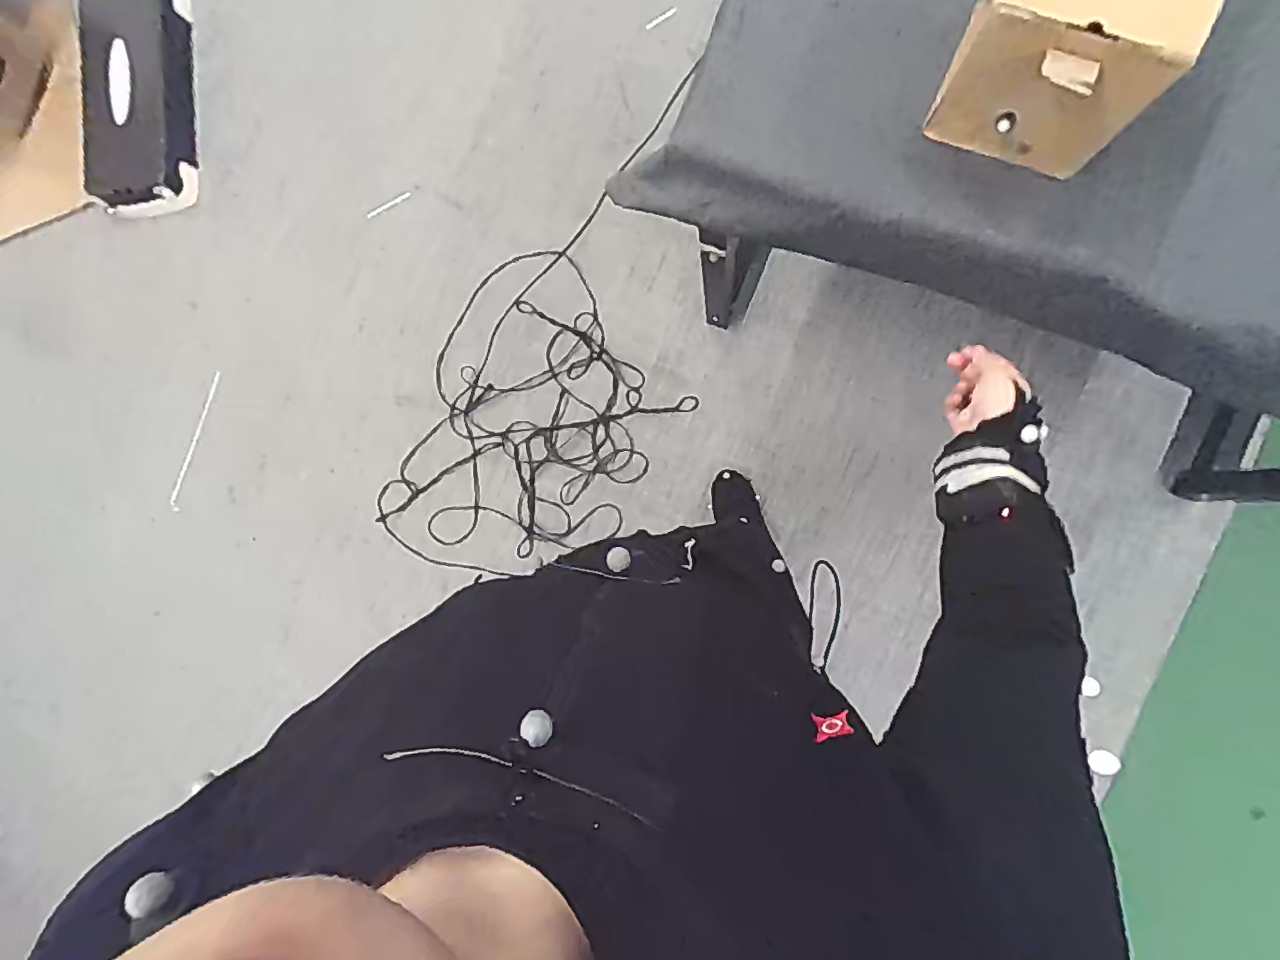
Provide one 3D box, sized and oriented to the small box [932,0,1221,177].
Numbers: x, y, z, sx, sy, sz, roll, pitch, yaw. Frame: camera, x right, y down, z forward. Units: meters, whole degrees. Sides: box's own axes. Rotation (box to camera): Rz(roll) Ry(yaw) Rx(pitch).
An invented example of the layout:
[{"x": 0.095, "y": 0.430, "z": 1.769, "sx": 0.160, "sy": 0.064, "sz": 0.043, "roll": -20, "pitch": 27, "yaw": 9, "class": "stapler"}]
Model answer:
[{"x": 0.425, "y": -0.449, "z": 0.535, "sx": 0.168, "sy": 0.176, "sz": 0.179, "roll": 23, "pitch": 92, "yaw": 7, "class": "small box"}]
